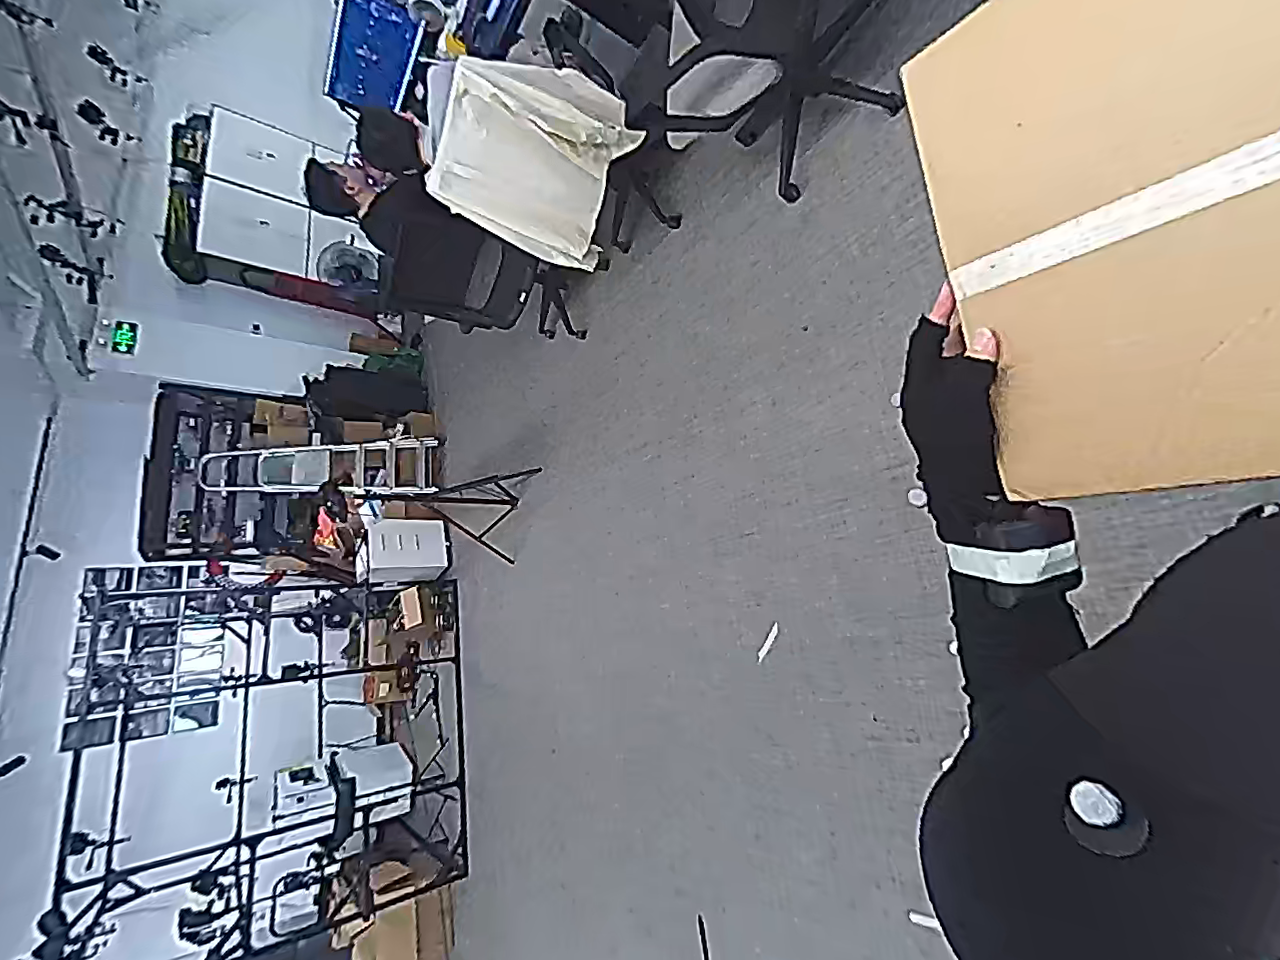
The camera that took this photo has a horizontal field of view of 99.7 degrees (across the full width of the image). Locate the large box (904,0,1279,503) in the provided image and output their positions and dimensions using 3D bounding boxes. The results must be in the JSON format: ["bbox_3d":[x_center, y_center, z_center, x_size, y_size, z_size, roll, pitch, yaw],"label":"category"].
[{"bbox_3d":[0.459,-0.191,0.326,0.408,0.320,0.320,-14,89,52],"label":"large box"}]
